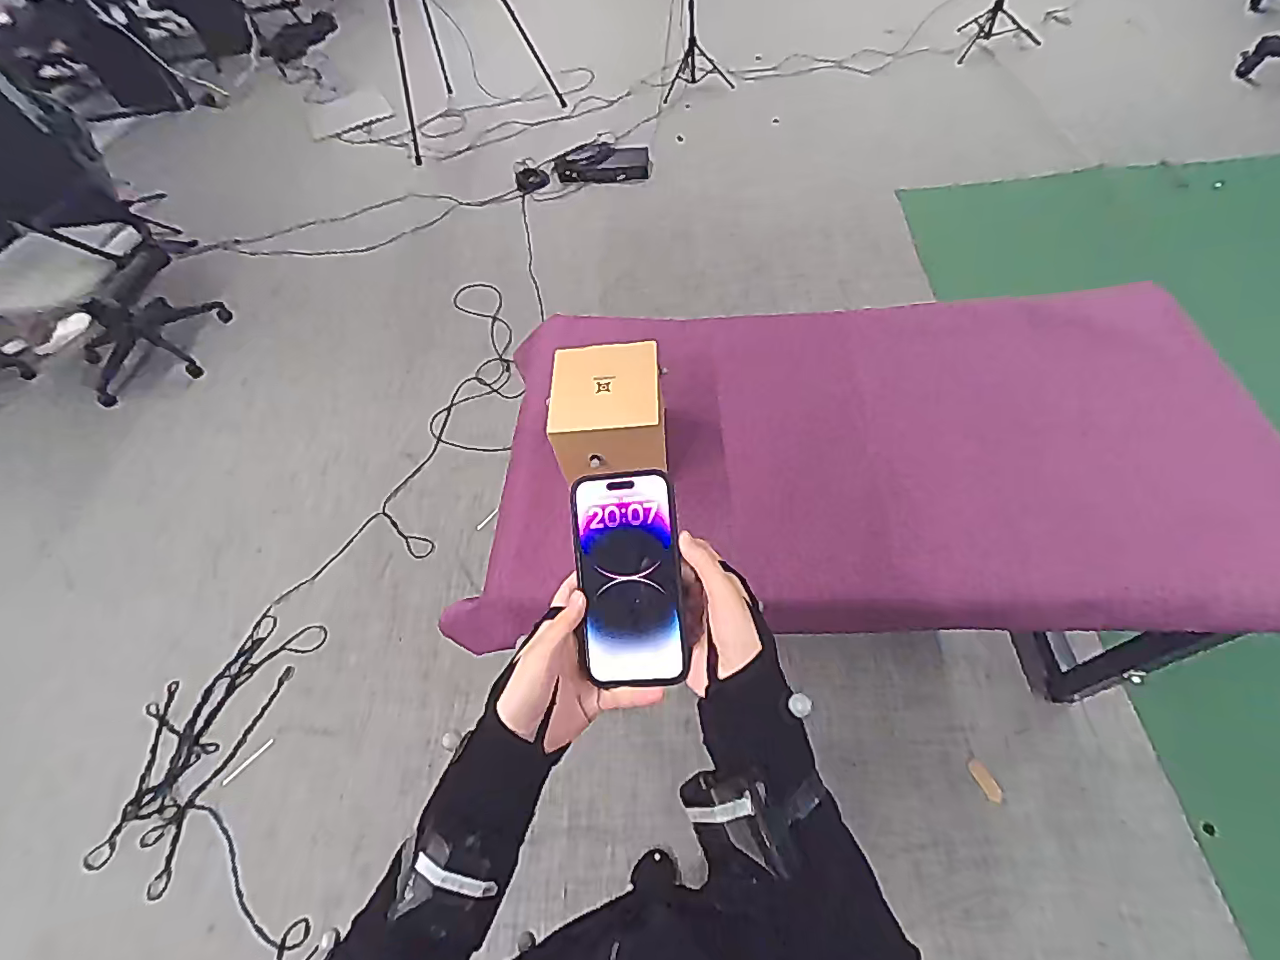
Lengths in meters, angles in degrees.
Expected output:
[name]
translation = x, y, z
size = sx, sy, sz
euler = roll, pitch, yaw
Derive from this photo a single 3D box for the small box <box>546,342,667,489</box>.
[small box]
translation = -0.046, -0.096, 0.881
size = 0.168, 0.176, 0.179
euler = -4, 55, 5
